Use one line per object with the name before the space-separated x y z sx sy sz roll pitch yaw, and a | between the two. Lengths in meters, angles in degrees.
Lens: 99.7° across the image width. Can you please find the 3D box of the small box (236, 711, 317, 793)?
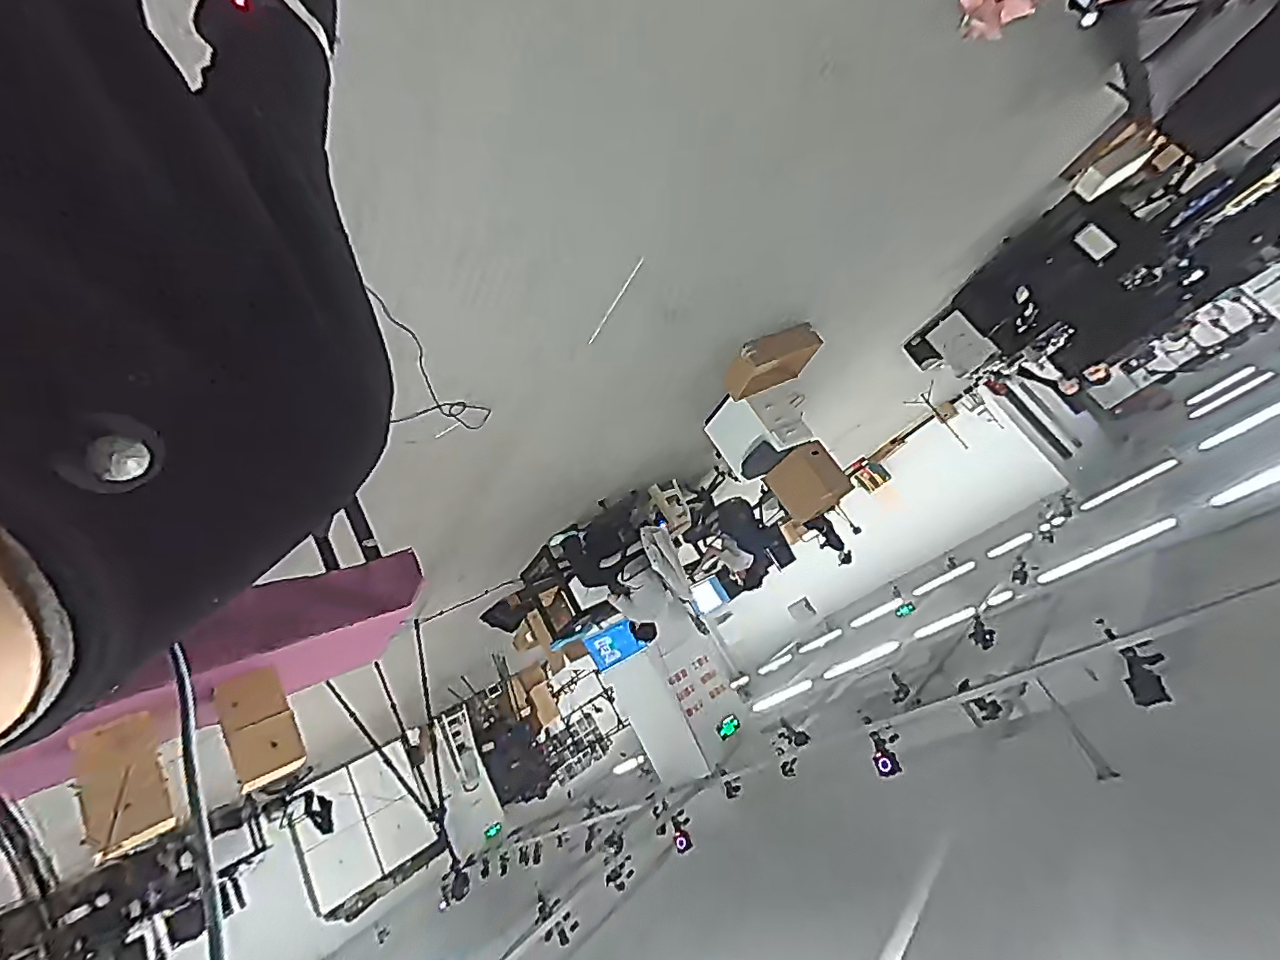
small box | -1.216 0.902 1.805 0.179 0.176 0.168 -14 155 -46

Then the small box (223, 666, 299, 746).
small box | -1.304 0.771 1.852 0.179 0.176 0.168 -14 156 -46

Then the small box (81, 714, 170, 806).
small box | -1.529 0.825 1.610 0.168 0.176 0.179 -13 155 -47
